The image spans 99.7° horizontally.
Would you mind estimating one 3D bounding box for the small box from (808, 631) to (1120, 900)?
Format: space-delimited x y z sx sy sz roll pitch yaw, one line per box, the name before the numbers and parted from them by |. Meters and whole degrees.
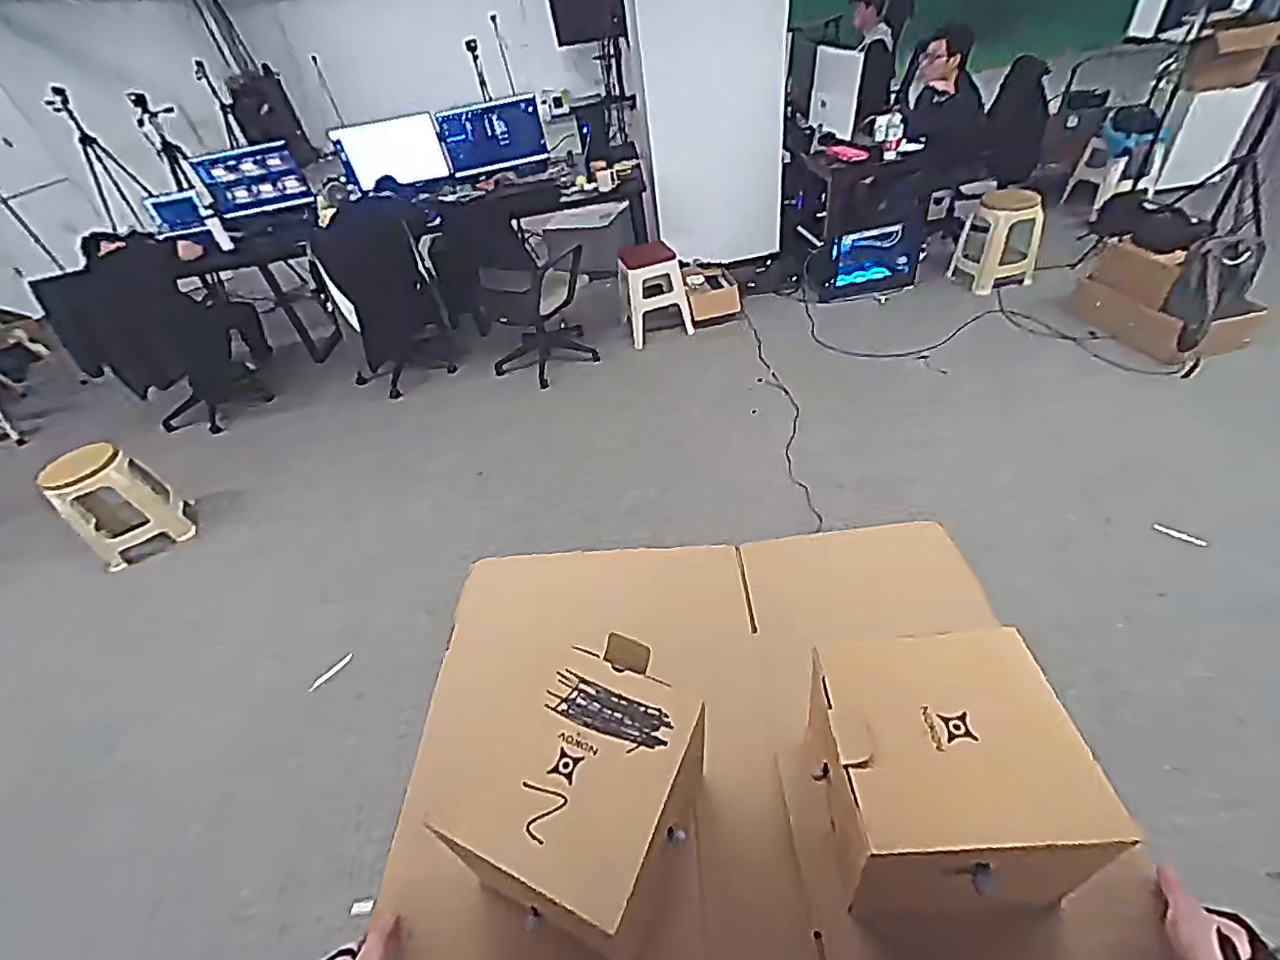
small box | 0.259 0.259 0.489 0.179 0.176 0.168 -8 41 7
